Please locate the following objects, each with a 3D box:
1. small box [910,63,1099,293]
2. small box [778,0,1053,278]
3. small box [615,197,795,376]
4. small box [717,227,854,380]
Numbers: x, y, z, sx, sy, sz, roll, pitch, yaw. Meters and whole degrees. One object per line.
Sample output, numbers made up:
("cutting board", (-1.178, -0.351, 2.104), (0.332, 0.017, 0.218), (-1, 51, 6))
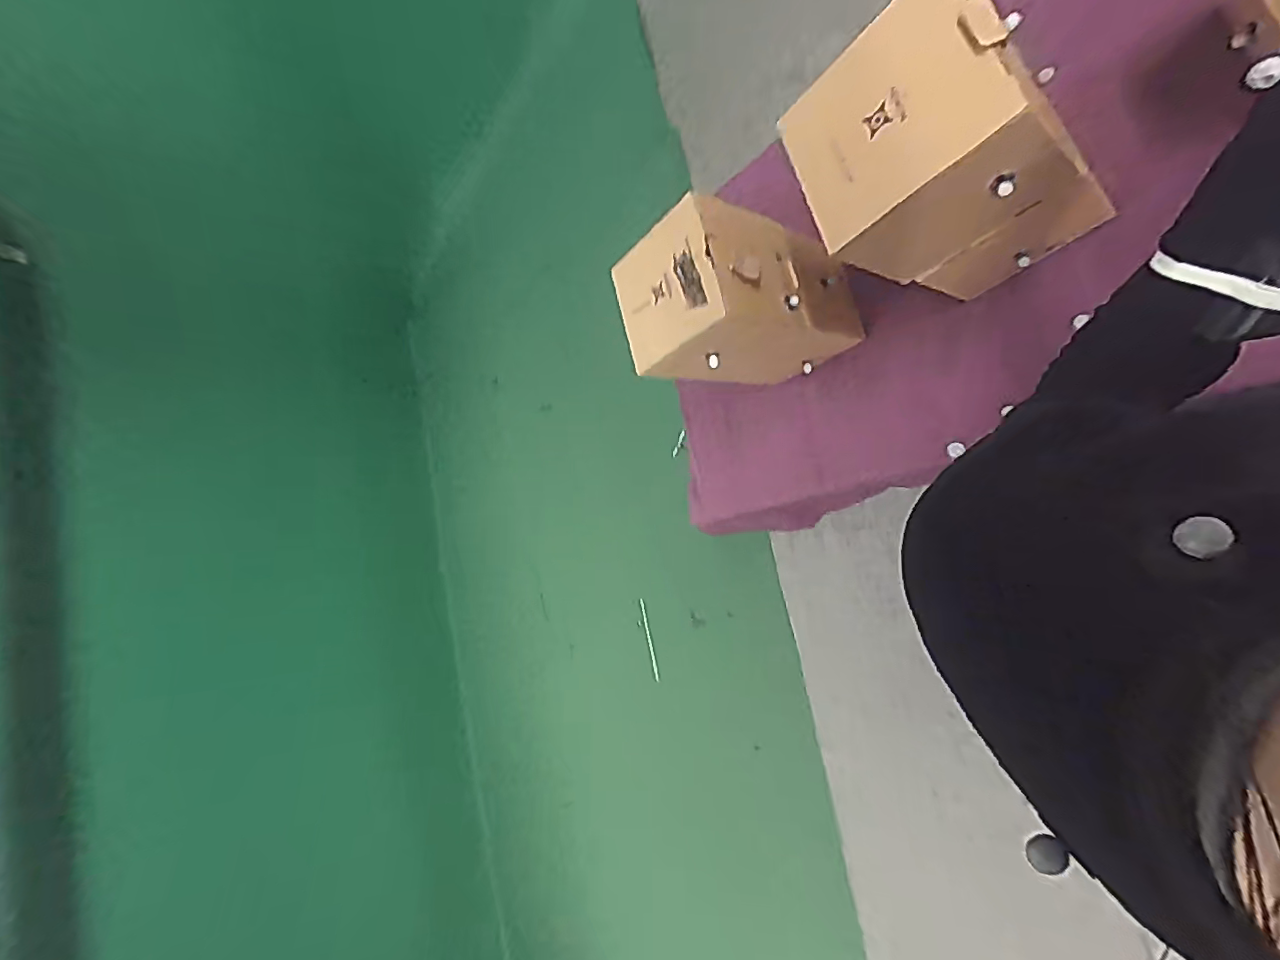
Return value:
("small box", (0.403, -0.349, 0.647), (0.168, 0.176, 0.179), (-32, 72, 47))
("small box", (0.278, -0.331, 0.543), (0.179, 0.176, 0.168), (-28, 72, 48))
("small box", (0.095, -0.256, 0.762), (0.179, 0.176, 0.168), (-24, 77, 49))
("small box", (0.219, -0.270, 0.870), (0.179, 0.176, 0.168), (-24, 77, 48))
